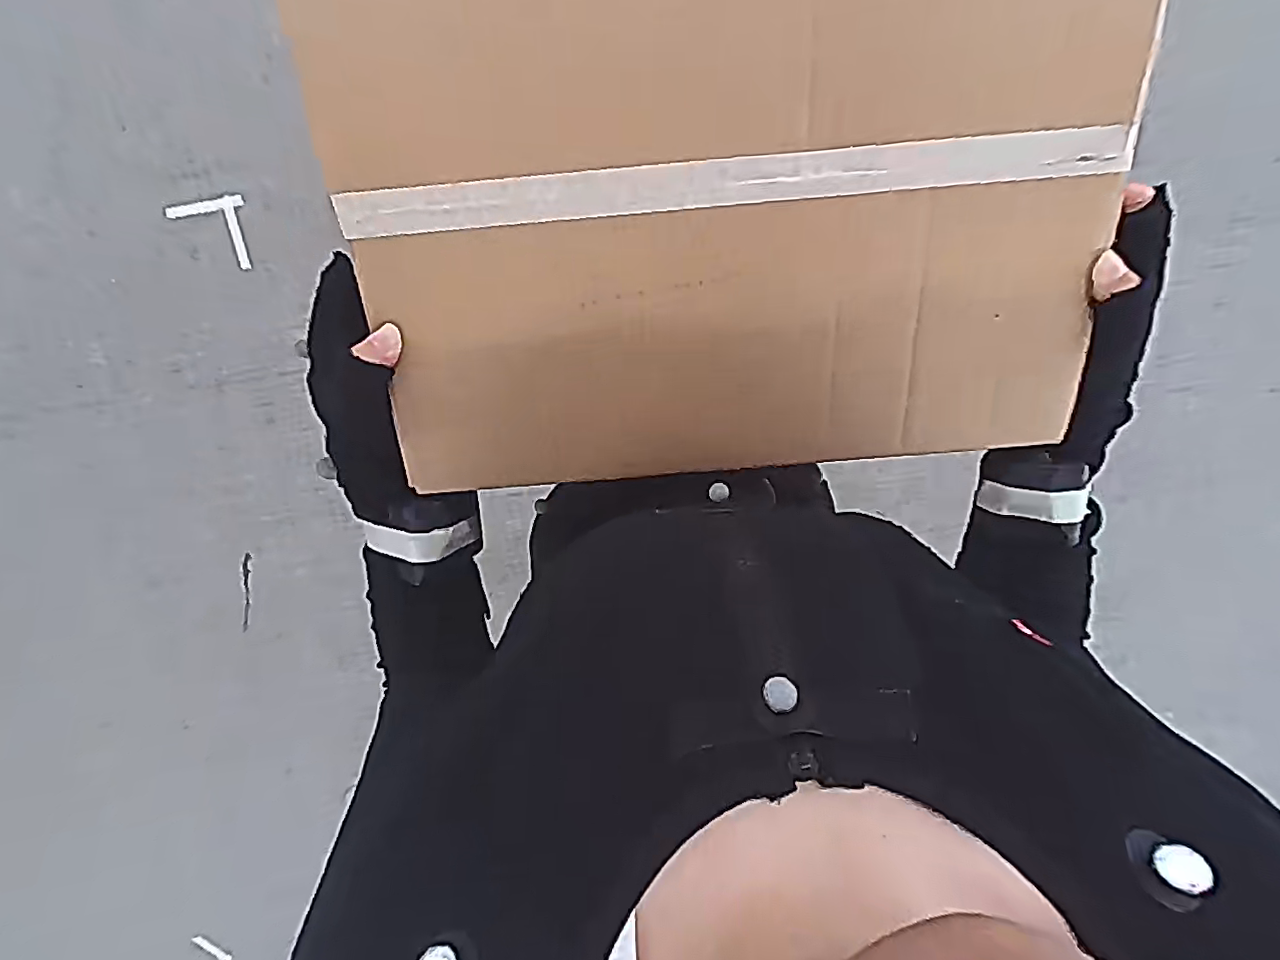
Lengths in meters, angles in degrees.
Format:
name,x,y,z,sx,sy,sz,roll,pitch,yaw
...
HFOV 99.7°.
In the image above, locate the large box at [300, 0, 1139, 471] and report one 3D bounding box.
name,x,y,z,sx,sy,sz,roll,pitch,yaw
large box,0.039,-0.220,0.421,0.408,0.320,0.320,-5,114,0
